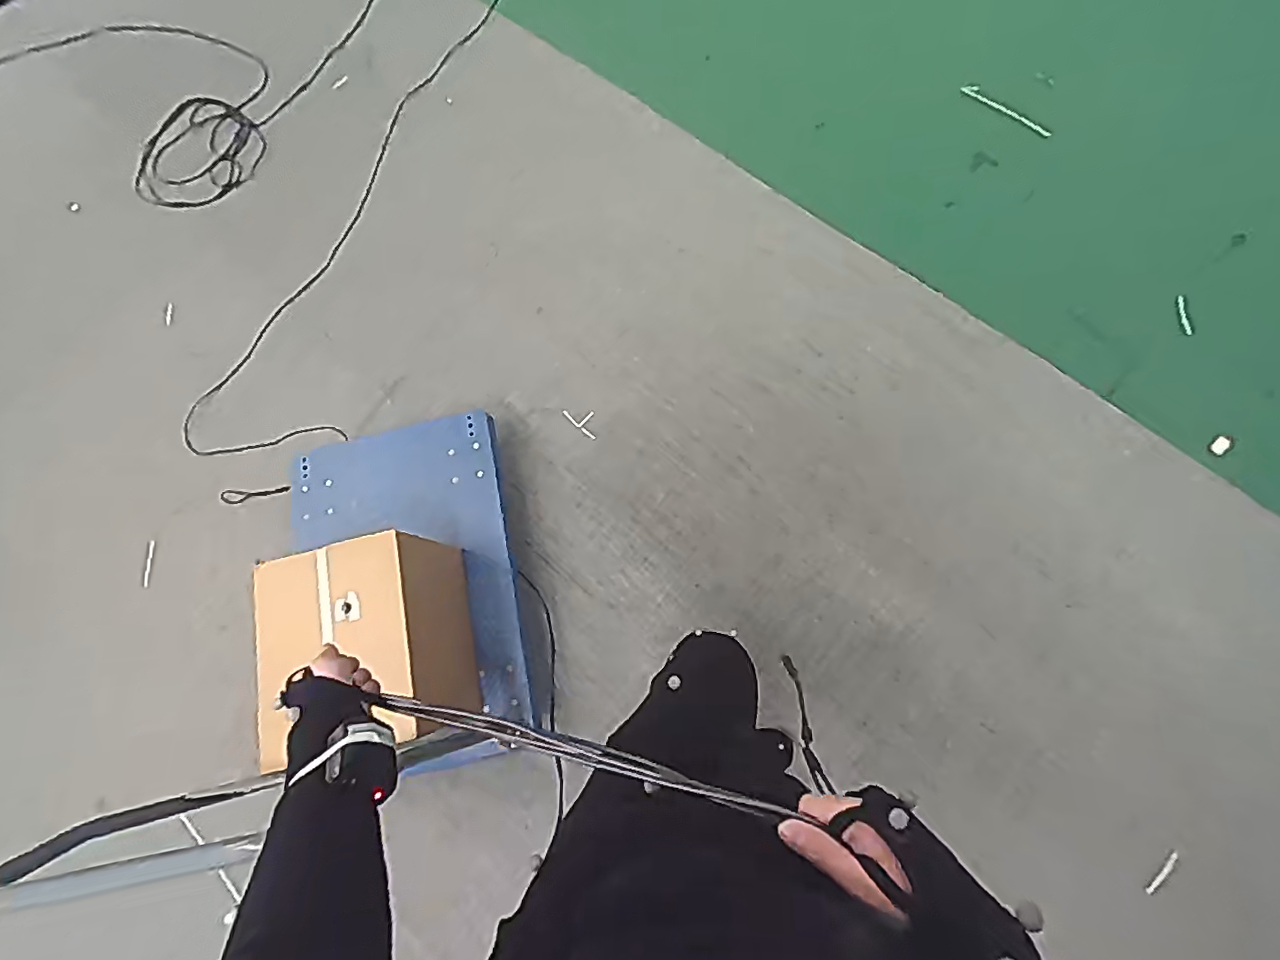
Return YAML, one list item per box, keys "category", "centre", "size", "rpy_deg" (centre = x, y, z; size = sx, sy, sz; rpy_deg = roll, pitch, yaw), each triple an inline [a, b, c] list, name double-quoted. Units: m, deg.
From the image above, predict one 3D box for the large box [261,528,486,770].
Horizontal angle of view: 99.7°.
- category: "large box"
  centre: [-0.572, 0.359, 1.196]
  size: [0.320, 0.320, 0.408]
  rpy_deg: [-15, 73, 3]
